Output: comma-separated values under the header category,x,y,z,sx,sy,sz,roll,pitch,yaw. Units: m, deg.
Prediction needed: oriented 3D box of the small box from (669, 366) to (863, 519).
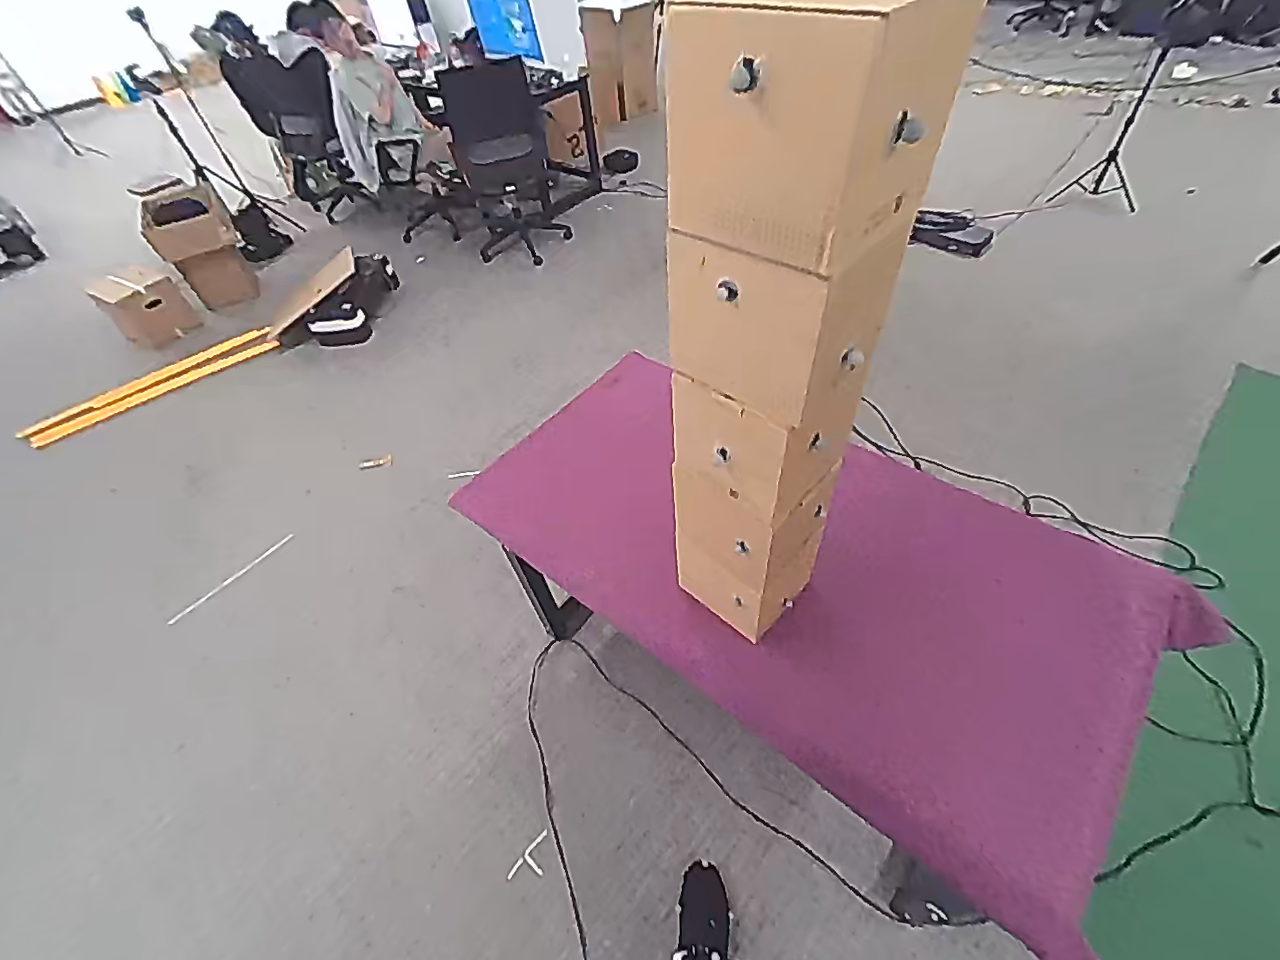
category,x,y,z,sx,sy,sz,roll,pitch,yaw
small box,0.158,-0.082,0.695,0.168,0.176,0.179,34,60,30

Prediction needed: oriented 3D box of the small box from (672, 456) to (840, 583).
category,x,y,z,sx,sy,sz,roll,pitch,yaw
small box,0.168,0.029,0.814,0.179,0.176,0.168,34,60,31

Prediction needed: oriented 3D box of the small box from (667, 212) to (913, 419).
category,x,y,z,sx,sy,sz,roll,pitch,yaw
small box,0.146,-0.193,0.574,0.179,0.176,0.168,33,59,29

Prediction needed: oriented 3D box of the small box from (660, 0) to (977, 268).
category,x,y,z,sx,sy,sz,roll,pitch,yaw
small box,0.138,-0.299,0.452,0.179,0.176,0.168,33,59,30
